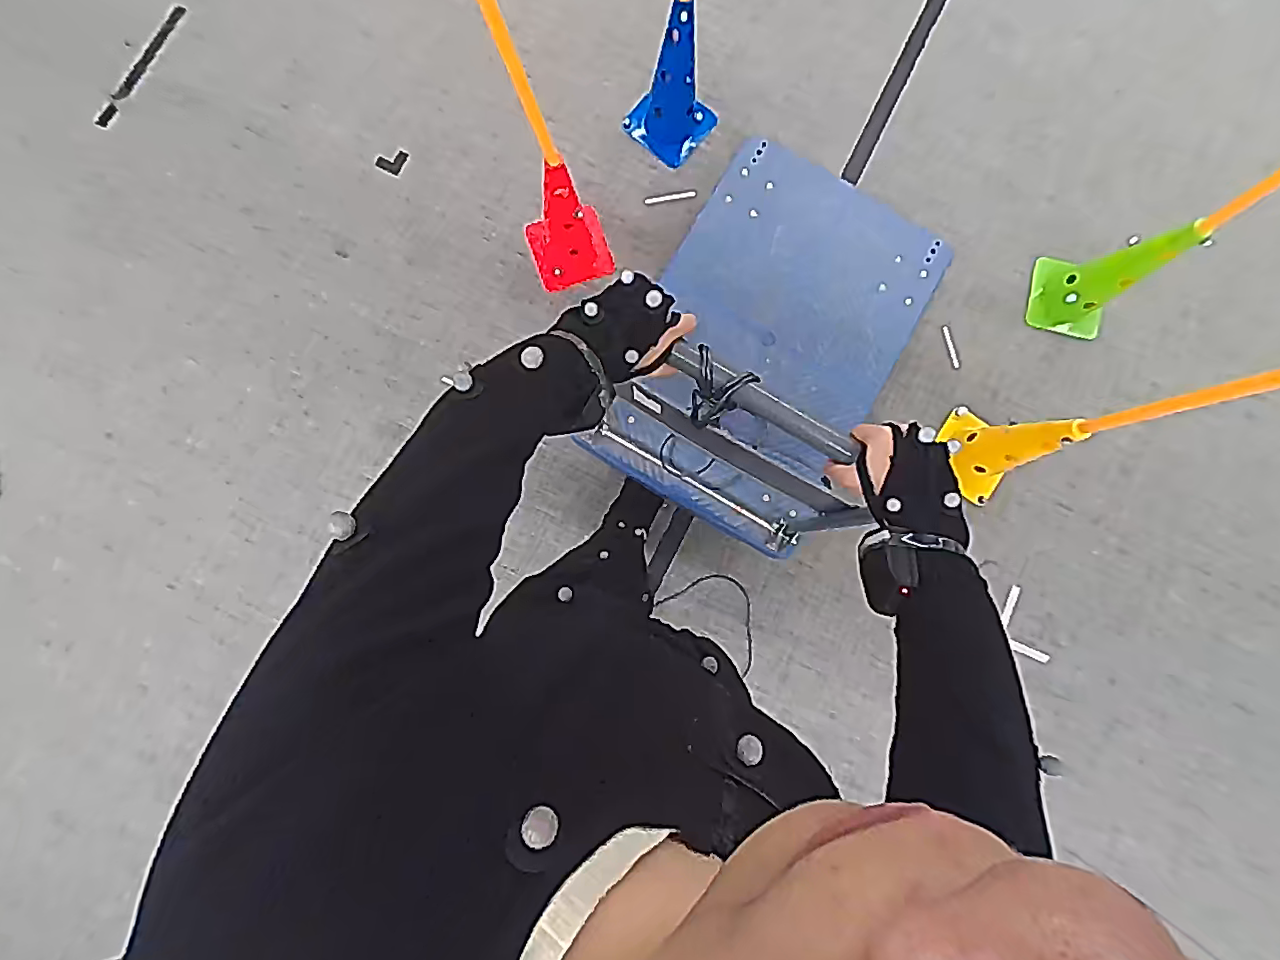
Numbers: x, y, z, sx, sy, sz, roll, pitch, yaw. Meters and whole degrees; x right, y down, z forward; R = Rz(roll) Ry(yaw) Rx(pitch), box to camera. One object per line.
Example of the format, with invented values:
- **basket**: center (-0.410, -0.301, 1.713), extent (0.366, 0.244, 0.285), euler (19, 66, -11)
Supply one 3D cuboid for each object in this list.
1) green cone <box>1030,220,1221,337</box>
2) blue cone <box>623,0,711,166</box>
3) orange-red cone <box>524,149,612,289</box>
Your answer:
- **green cone**: center (1.162, -0.508, 1.284), extent (0.200, 0.368, 0.202), euler (12, 86, -1)
- **blue cone**: center (0.081, -0.984, 1.309), extent (0.193, 0.380, 0.192), euler (41, 85, 2)
- **orange-red cone**: center (-0.180, -0.629, 1.252), extent (0.199, 0.360, 0.198), euler (-18, 86, -5)
